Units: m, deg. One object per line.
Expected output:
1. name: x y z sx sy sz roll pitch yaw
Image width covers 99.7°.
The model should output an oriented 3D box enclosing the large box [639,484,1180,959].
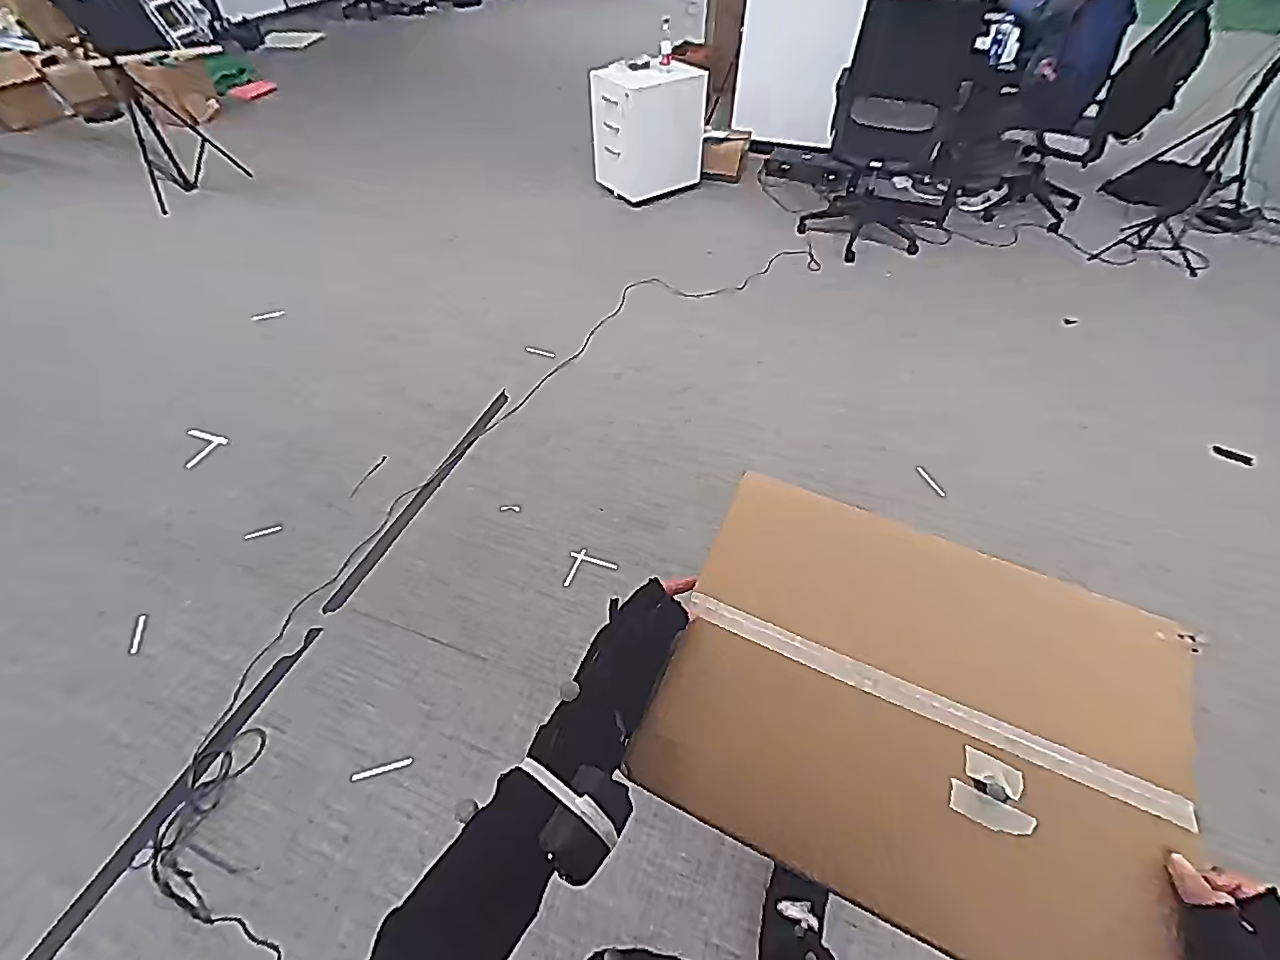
1. large box: 0.244 0.262 0.599 0.408 0.320 0.320 21 65 15
